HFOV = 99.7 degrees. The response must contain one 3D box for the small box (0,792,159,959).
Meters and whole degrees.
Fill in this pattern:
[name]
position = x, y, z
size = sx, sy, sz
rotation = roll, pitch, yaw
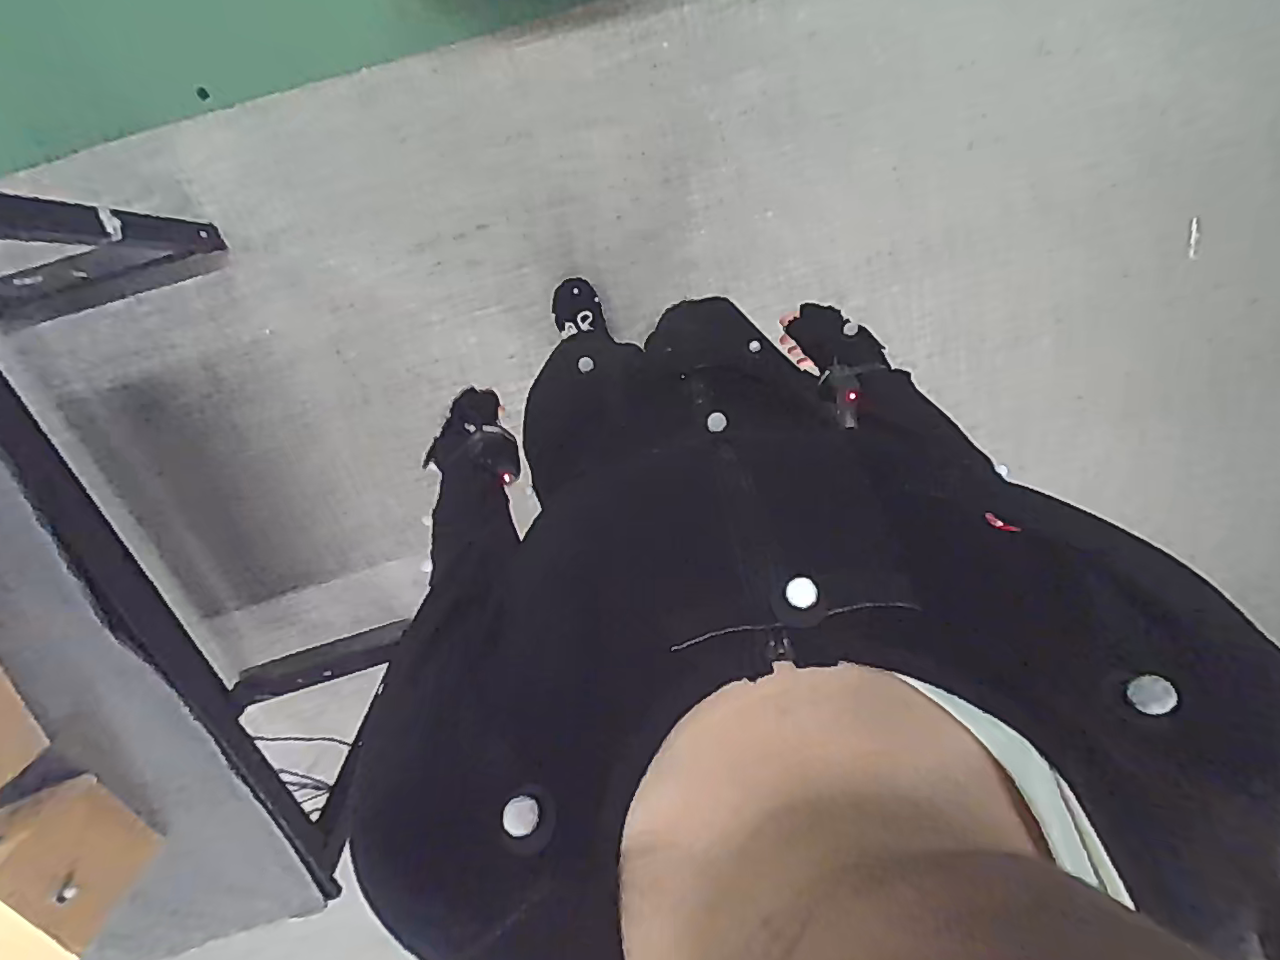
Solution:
[small box]
position = -0.852, 0.574, 0.755
size = 0.168, 0.176, 0.179
rotation = -22, 111, 1
